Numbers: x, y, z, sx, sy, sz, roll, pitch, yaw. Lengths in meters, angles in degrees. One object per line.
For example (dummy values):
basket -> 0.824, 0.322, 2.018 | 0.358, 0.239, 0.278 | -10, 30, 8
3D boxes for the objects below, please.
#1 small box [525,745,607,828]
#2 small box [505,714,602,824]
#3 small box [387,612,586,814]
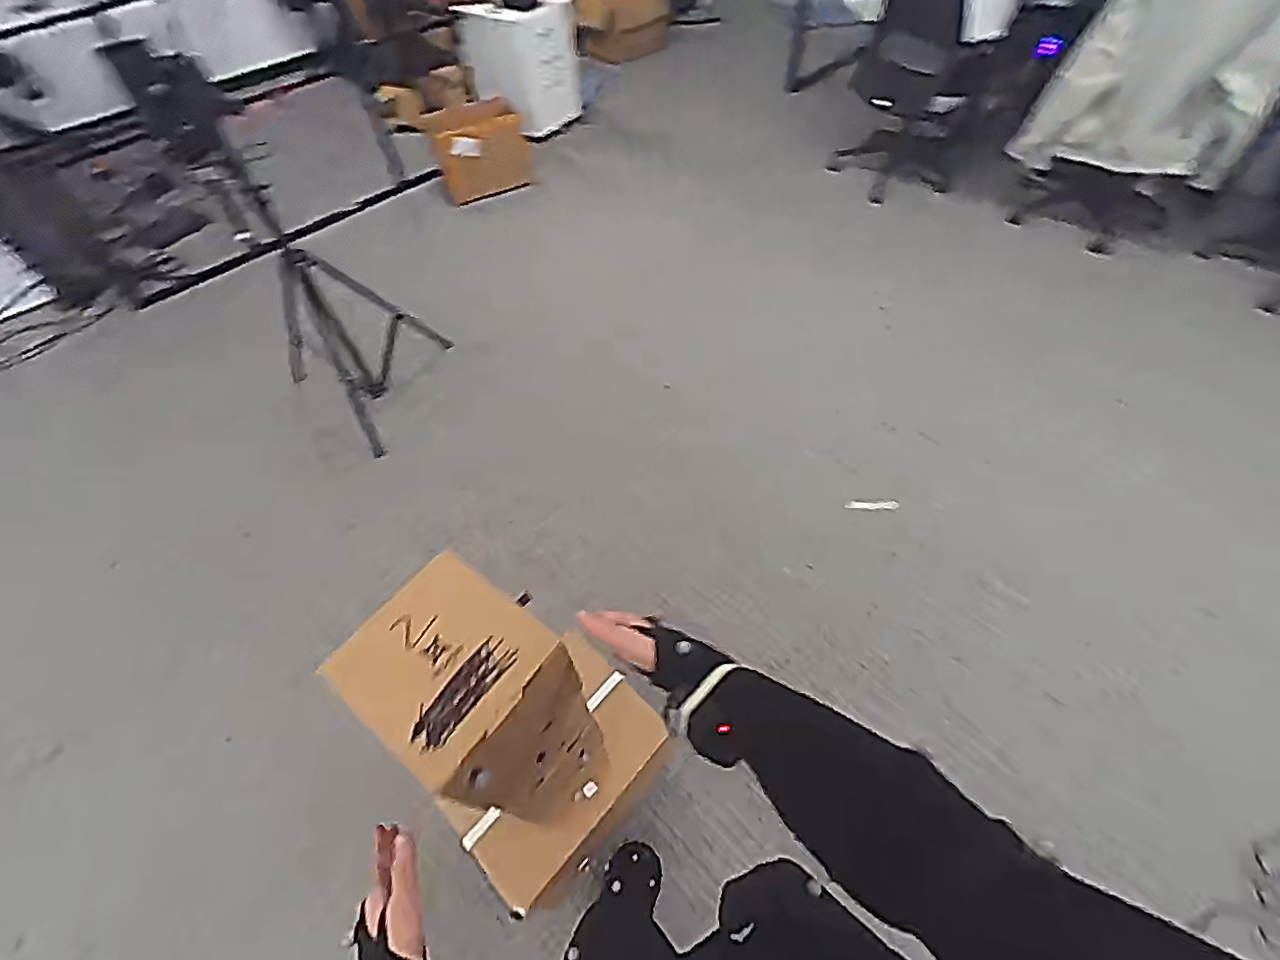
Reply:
small box -> -0.179, 0.506, 0.989 | 0.179, 0.176, 0.168 | 36, 64, 24
small box -> -0.178, 0.411, 0.858 | 0.179, 0.176, 0.168 | 34, 61, 25
small box -> -0.190, 0.316, 0.724 | 0.179, 0.176, 0.168 | 30, 60, 22
